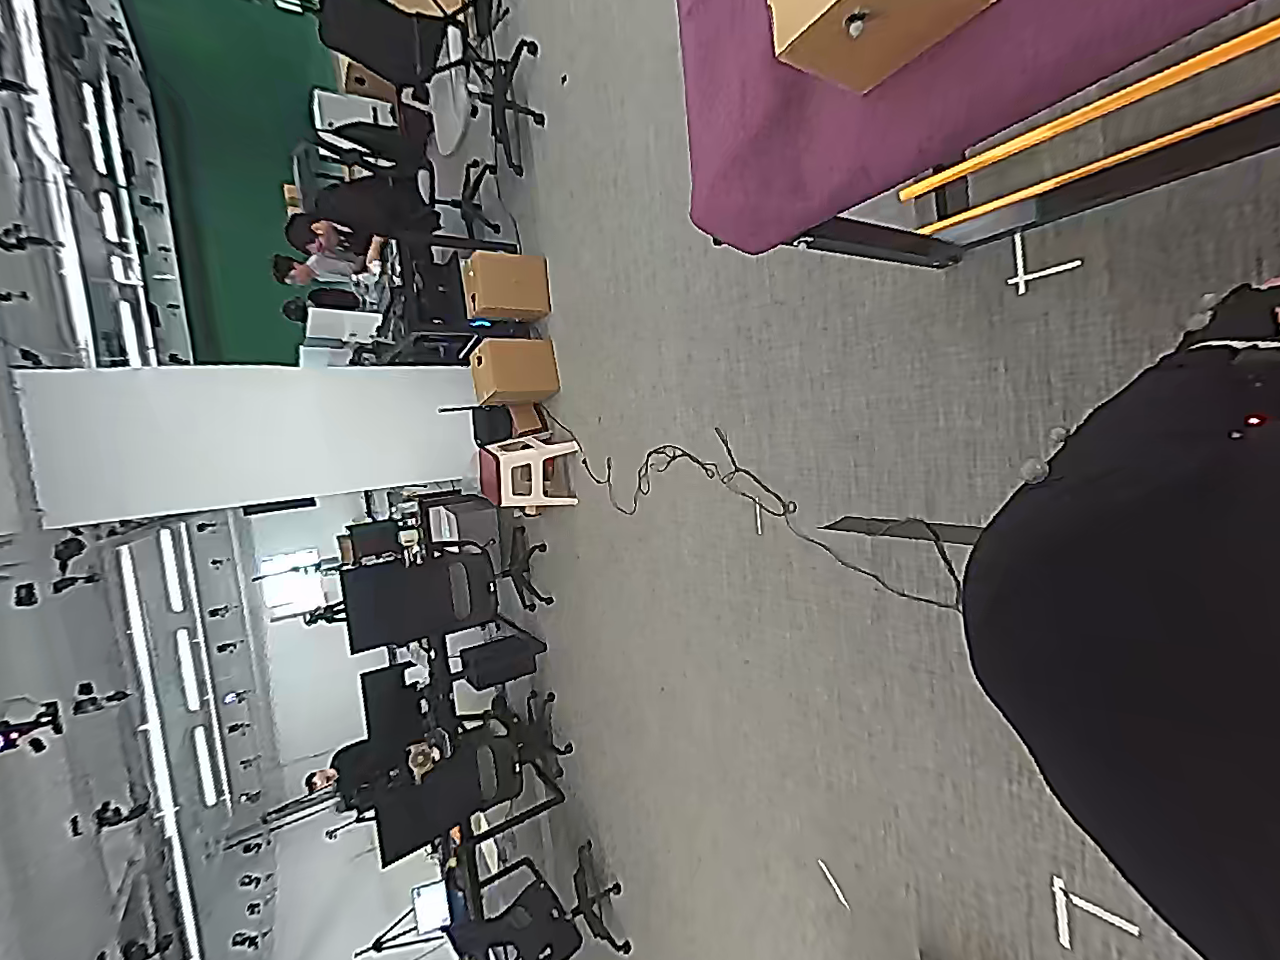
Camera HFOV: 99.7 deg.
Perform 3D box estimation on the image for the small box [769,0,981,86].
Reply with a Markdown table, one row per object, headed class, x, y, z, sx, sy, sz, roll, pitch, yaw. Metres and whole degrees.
| class | x | y | z | sx | sy | sz | roll | pitch | yaw |
| --- | --- | --- | --- | --- | --- | --- | --- | --- | --- |
| small box | 0.257 | -0.575 | 0.582 | 0.179 | 0.176 | 0.168 | -3 | 95 | 57 |
